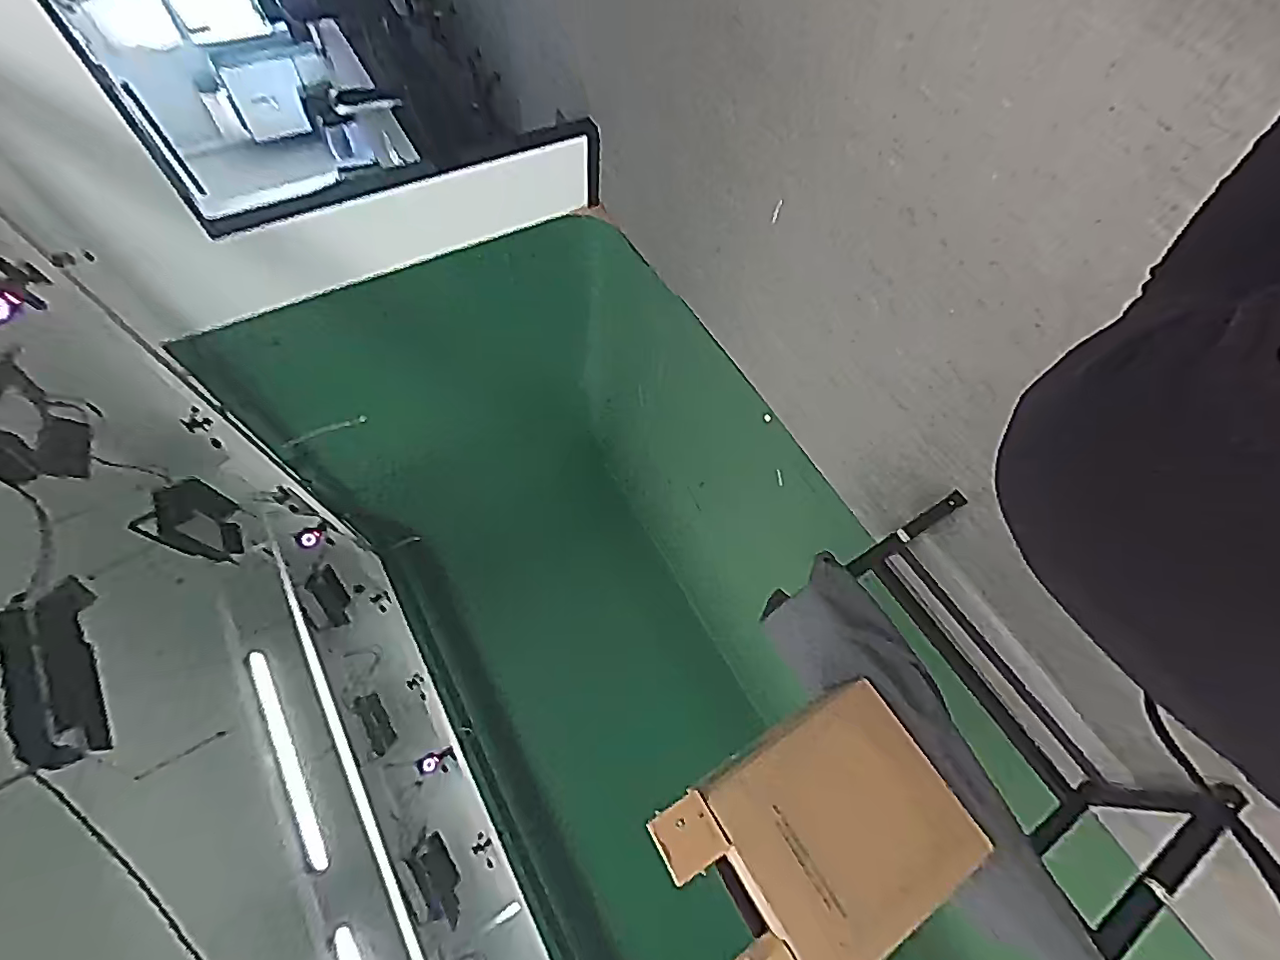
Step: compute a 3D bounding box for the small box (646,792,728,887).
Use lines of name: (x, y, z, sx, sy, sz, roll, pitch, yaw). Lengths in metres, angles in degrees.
small box: (0.132, 1.013, 1.535, 0.168, 0.176, 0.179, 56, 162, 30)

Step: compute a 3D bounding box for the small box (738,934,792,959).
small box: (0.335, 1.323, 1.392, 0.168, 0.176, 0.179, 54, 160, 25)
